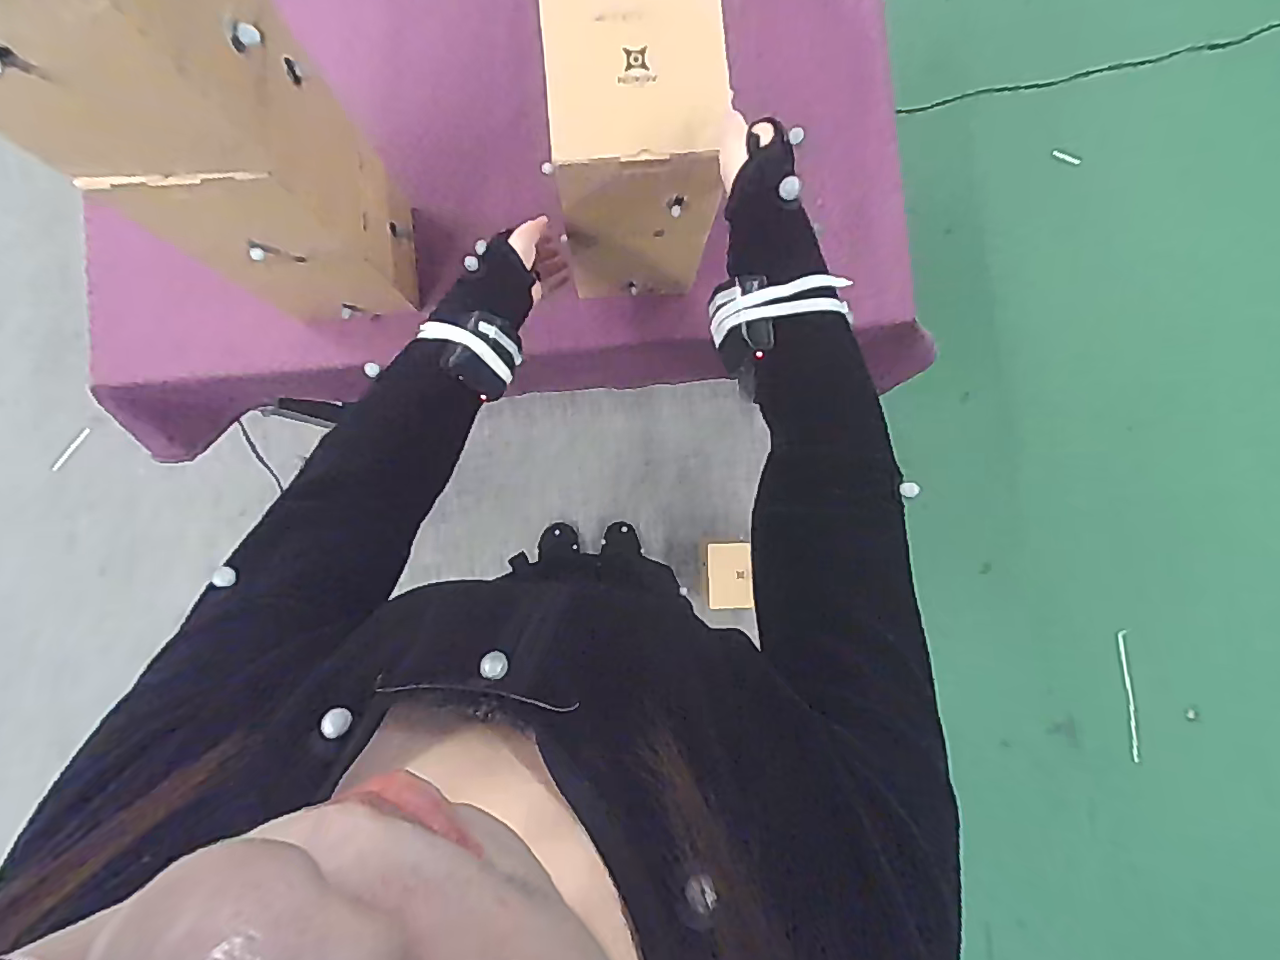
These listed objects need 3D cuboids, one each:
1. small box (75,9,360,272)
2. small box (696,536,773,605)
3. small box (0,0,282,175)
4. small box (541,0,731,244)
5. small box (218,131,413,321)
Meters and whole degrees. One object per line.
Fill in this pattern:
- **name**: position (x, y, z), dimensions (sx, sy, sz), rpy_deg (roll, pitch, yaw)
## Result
- **small box**: position (-0.407, -0.334, 0.547), dimensions (0.168, 0.176, 0.179), rpy_deg (-5, 88, -2)
- **small box**: position (0.247, 0.238, 1.450), dimensions (0.179, 0.176, 0.168), rpy_deg (-2, 88, -4)
- **small box**: position (-0.394, -0.343, 0.383), dimensions (0.179, 0.176, 0.168), rpy_deg (-3, 87, -4)
- **small box**: position (-0.006, -0.366, 0.568), dimensions (0.168, 0.176, 0.179), rpy_deg (-5, 88, -3)
- **small box**: position (-0.414, -0.321, 0.712), dimensions (0.179, 0.176, 0.168), rpy_deg (-6, 87, -4)
